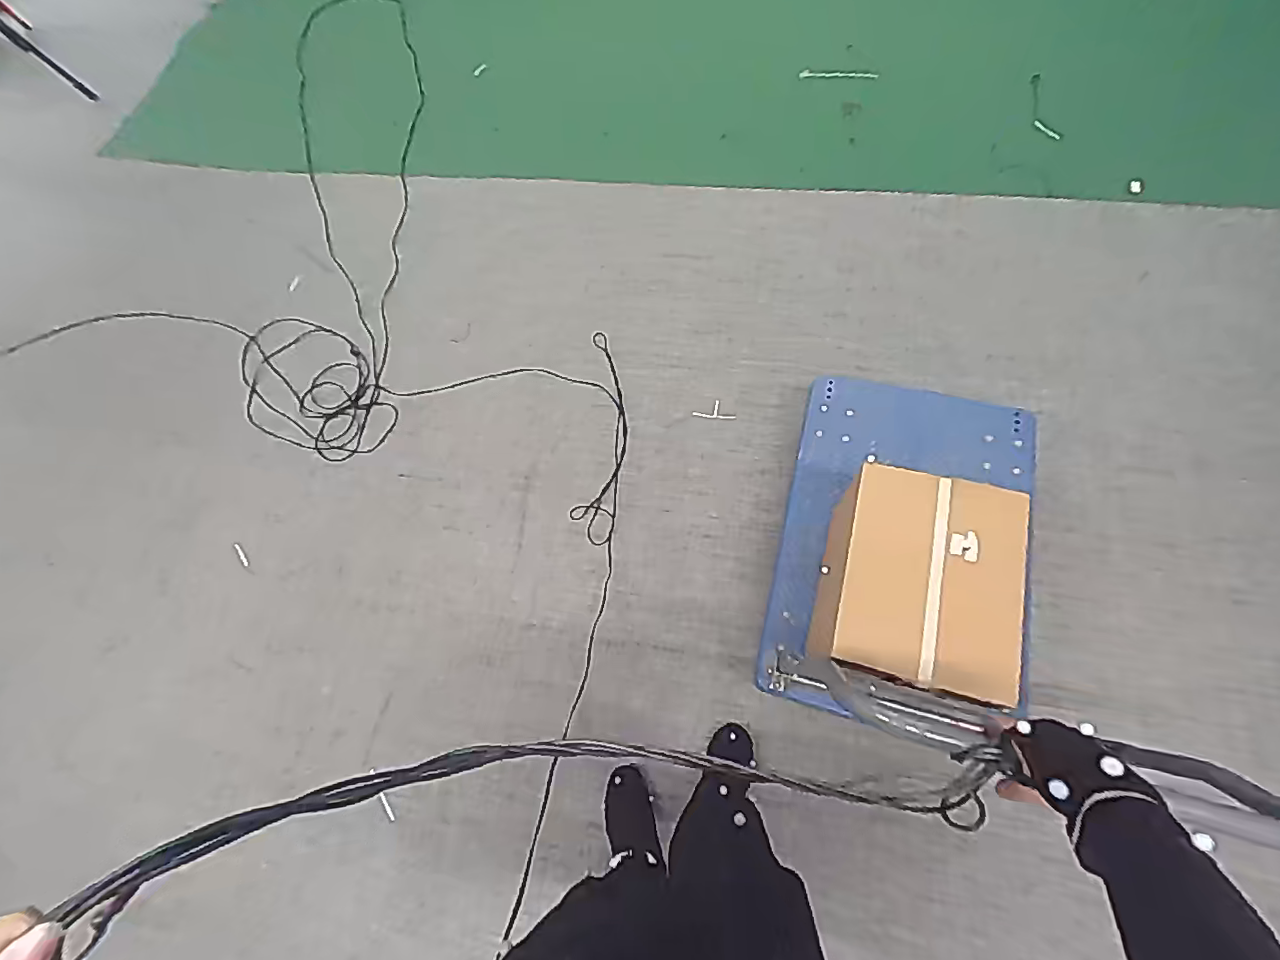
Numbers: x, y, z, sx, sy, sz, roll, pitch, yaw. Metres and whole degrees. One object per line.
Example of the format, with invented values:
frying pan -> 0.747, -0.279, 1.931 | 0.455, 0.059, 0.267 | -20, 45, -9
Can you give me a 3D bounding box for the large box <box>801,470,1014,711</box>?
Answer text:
large box -> 0.552, 0.247, 1.160 | 0.320, 0.320, 0.408 | 14, 70, 11
